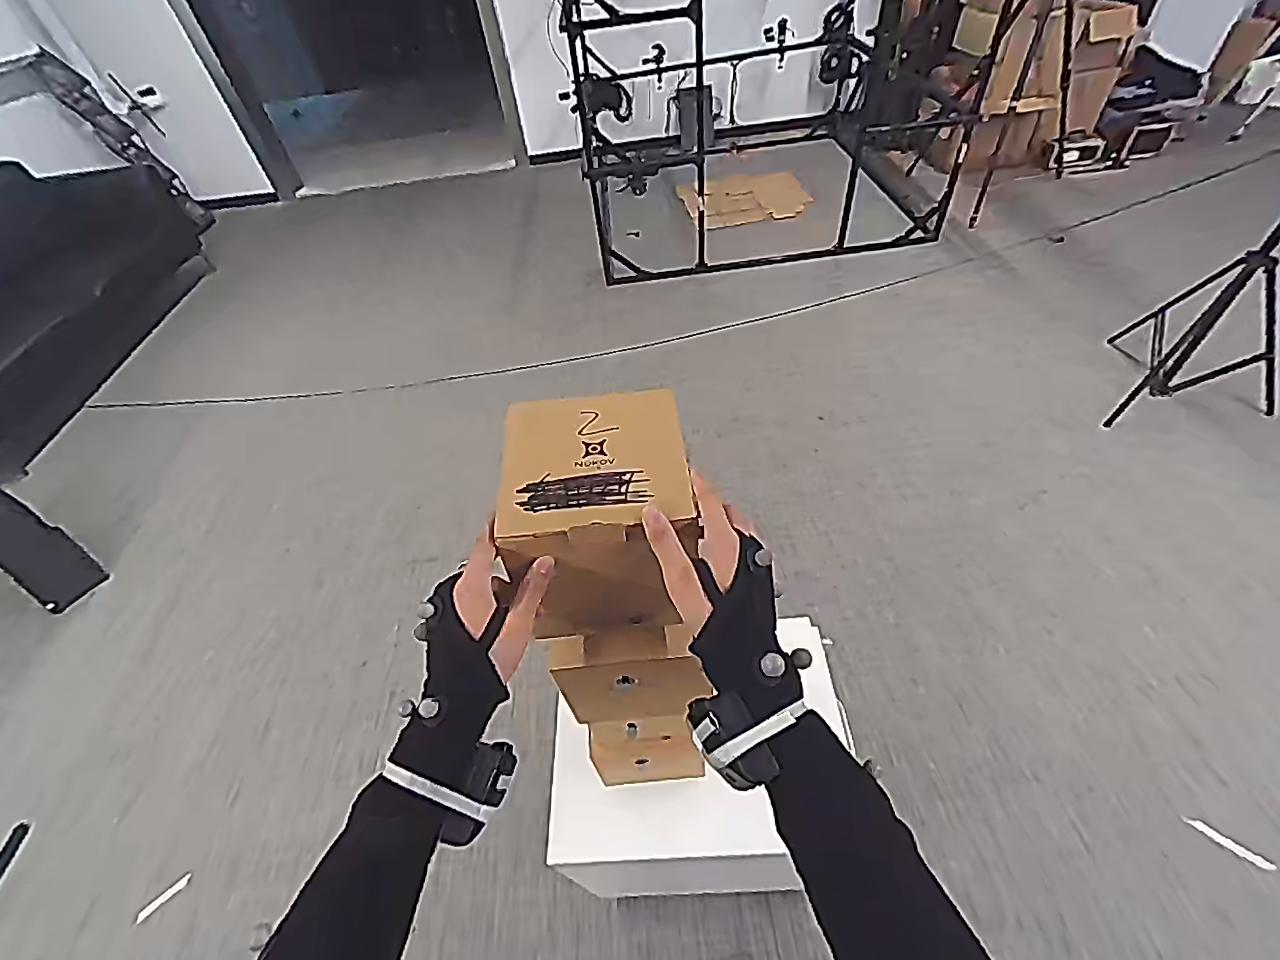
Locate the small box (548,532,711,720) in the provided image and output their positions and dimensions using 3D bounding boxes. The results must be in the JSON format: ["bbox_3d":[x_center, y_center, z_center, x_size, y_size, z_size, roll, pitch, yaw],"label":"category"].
[{"bbox_3d":[-0.006,0.187,0.678,0.179,0.176,0.168,-5,48,2],"label":"small box"}]

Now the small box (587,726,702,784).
[{"bbox_3d":[0.010,0.404,0.922,0.179,0.176,0.168,-6,47,1],"label":"small box"}]

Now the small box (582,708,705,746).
[{"bbox_3d":[0.007,0.285,0.812,0.168,0.176,0.179,-5,47,2],"label":"small box"}]
